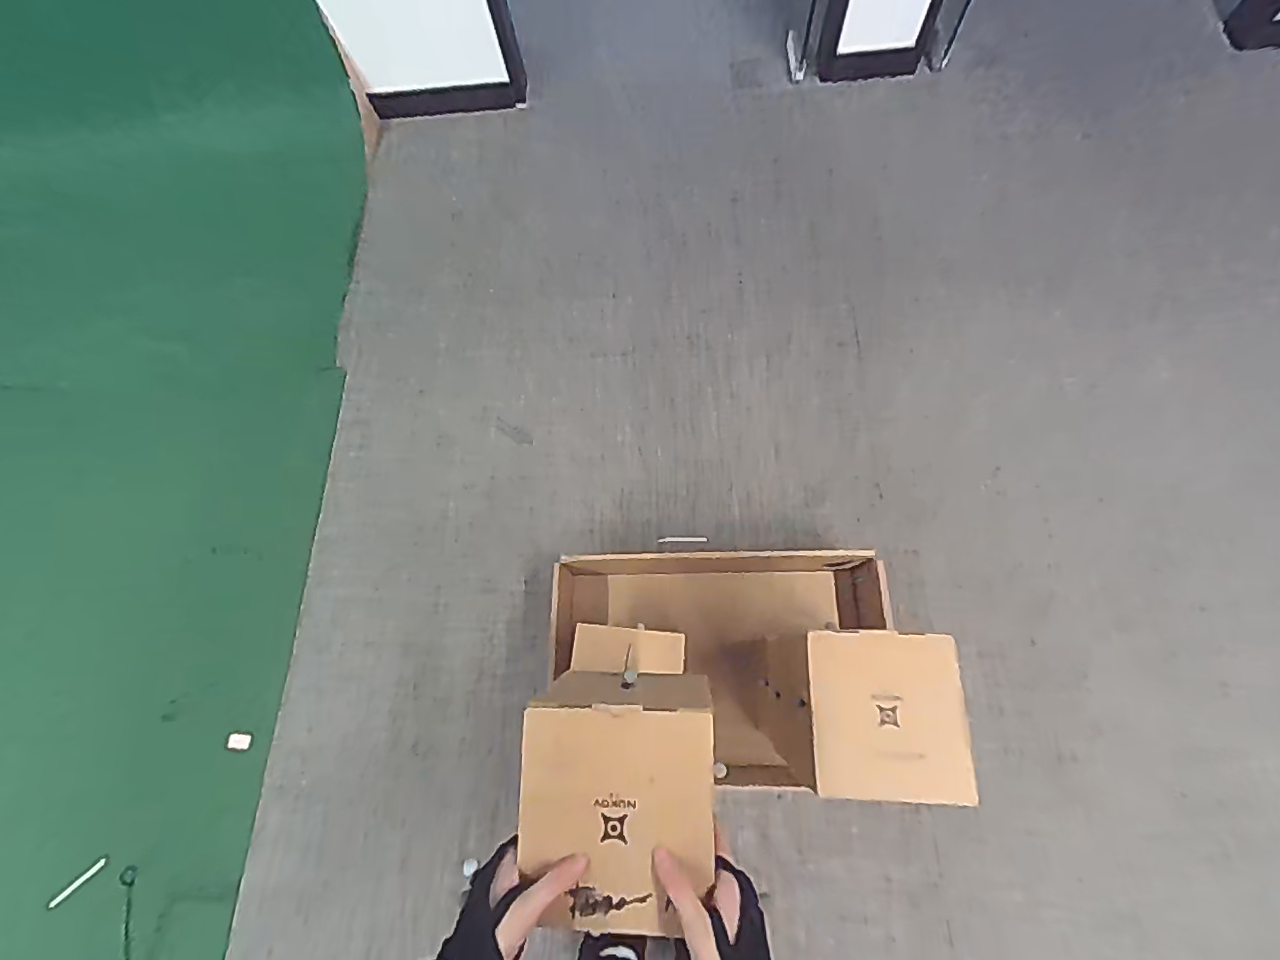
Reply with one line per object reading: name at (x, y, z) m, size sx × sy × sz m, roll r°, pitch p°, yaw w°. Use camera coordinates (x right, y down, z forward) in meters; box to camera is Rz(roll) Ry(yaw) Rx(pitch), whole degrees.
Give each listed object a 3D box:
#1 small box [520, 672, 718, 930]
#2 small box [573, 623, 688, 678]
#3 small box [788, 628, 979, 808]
small box at (-0.010, 0.294, 0.538) m, size 0.168 × 0.176 × 0.179 m, roll 0°, pitch 80°, yaw 6°
small box at (-0.012, 0.329, 0.849) m, size 0.168 × 0.176 × 0.179 m, roll 4°, pitch 70°, yaw 6°
small box at (0.281, 0.283, 0.669) m, size 0.168 × 0.176 × 0.179 m, roll 1°, pitch 71°, yaw 6°
